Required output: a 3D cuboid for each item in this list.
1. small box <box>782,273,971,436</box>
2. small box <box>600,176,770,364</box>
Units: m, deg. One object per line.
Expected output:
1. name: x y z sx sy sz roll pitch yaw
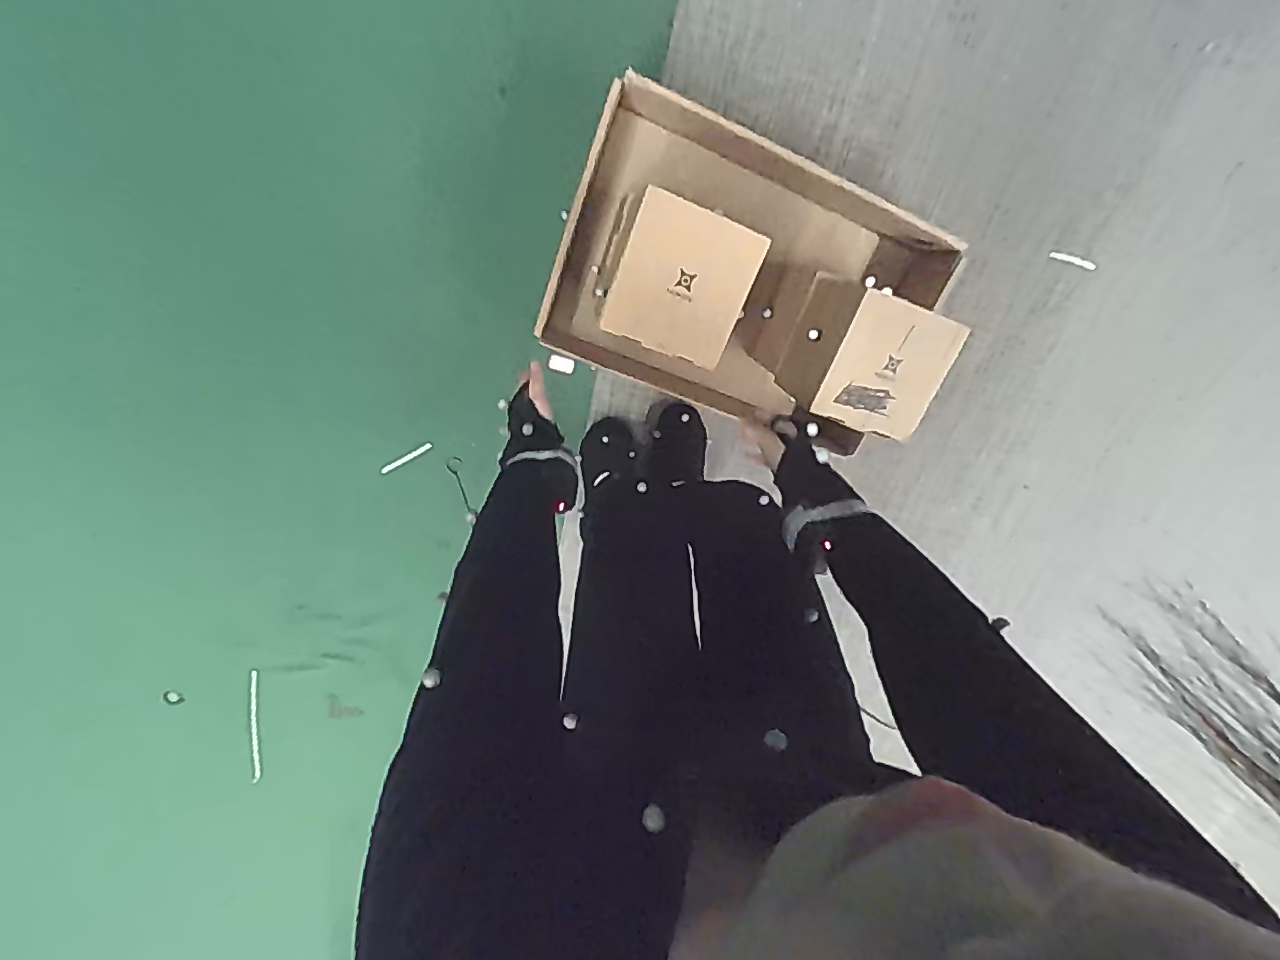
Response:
1. small box: 0.331 -0.192 0.803 0.168 0.176 0.179 16 112 -11
2. small box: 0.046 -0.286 0.739 0.168 0.176 0.179 17 113 -14
